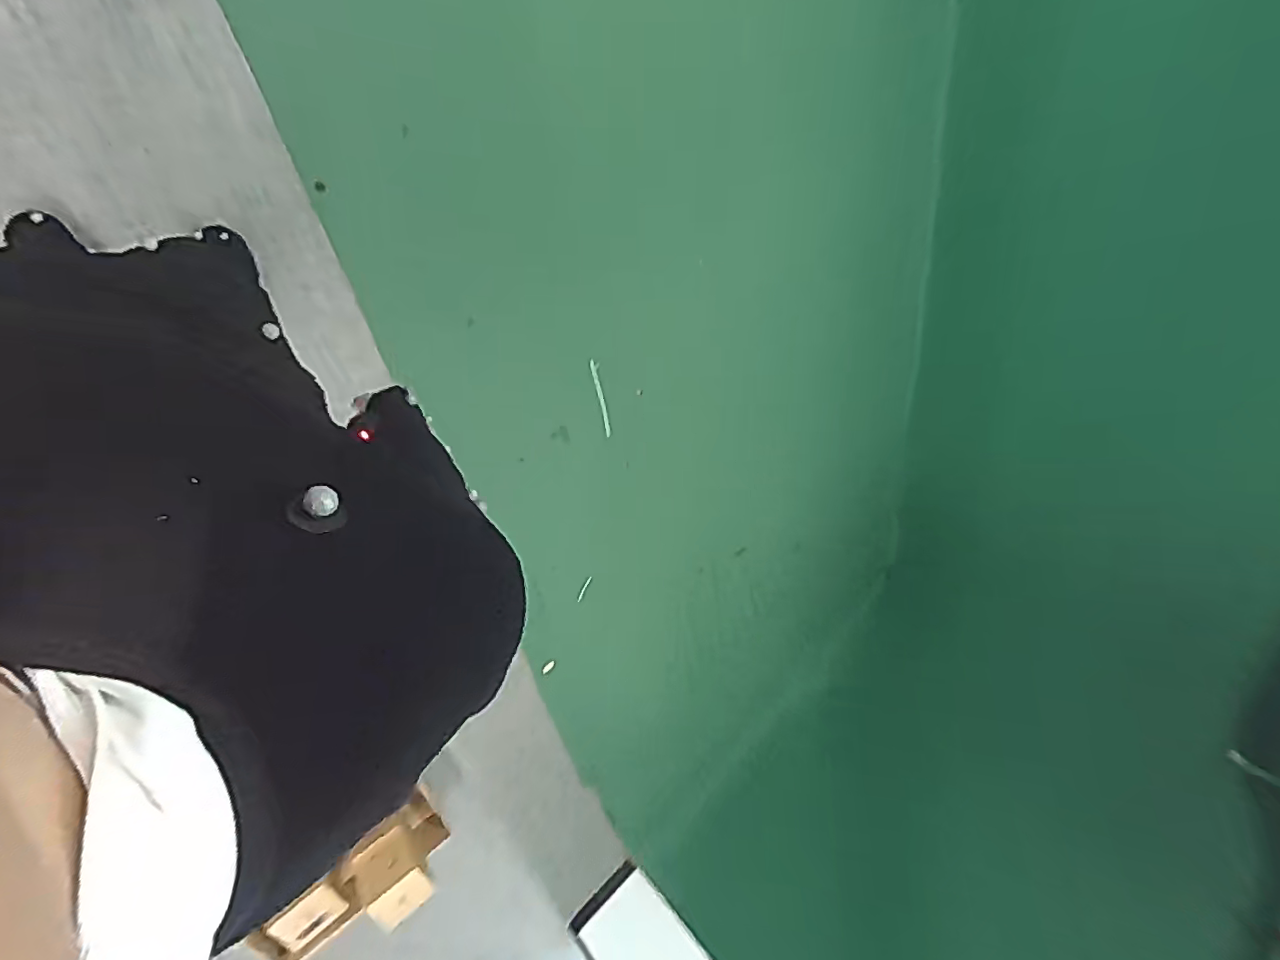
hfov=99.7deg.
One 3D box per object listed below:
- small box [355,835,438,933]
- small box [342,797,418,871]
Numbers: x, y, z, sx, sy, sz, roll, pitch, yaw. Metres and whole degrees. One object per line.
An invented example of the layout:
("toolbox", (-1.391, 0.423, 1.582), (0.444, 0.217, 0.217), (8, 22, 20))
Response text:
("small box", (-0.794, 1.302, 1.756), (0.168, 0.176, 0.179), (-32, 128, -25))
("small box", (-0.897, 1.238, 1.863), (0.168, 0.176, 0.179), (-31, 127, -26))
